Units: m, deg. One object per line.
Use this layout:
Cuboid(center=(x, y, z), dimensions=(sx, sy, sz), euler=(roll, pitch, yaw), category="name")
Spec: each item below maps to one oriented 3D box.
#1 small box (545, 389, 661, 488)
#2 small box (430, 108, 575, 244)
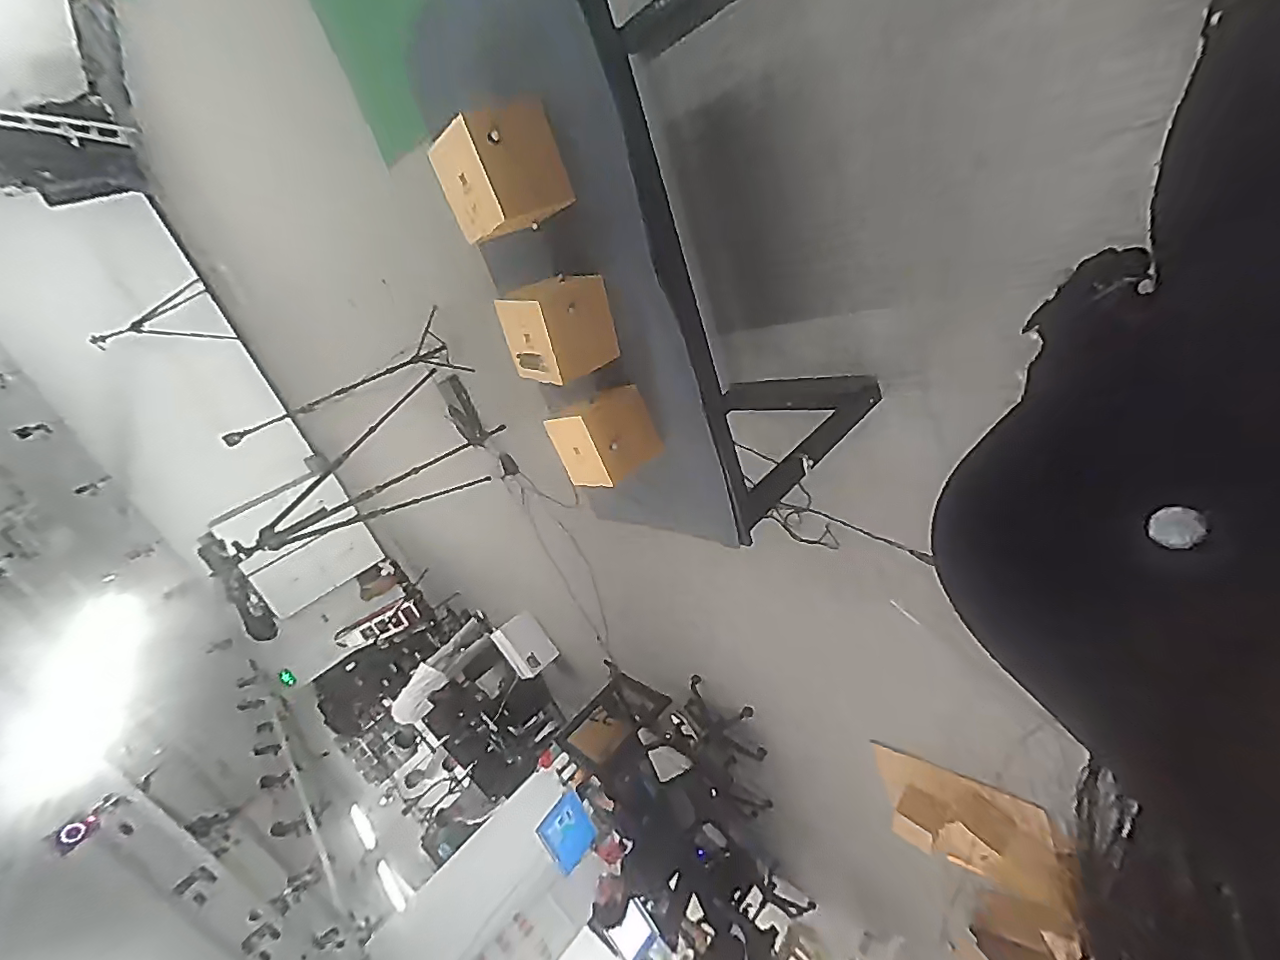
Cuboid(center=(-0.081, -0.099, 1.245), dimensions=(0.168, 0.176, 0.179), euler=(1, 120, 51), category="small box")
Cuboid(center=(-0.255, -0.573, 1.019), dimensions=(0.168, 0.176, 0.179), euler=(6, 124, 50), category="small box")
